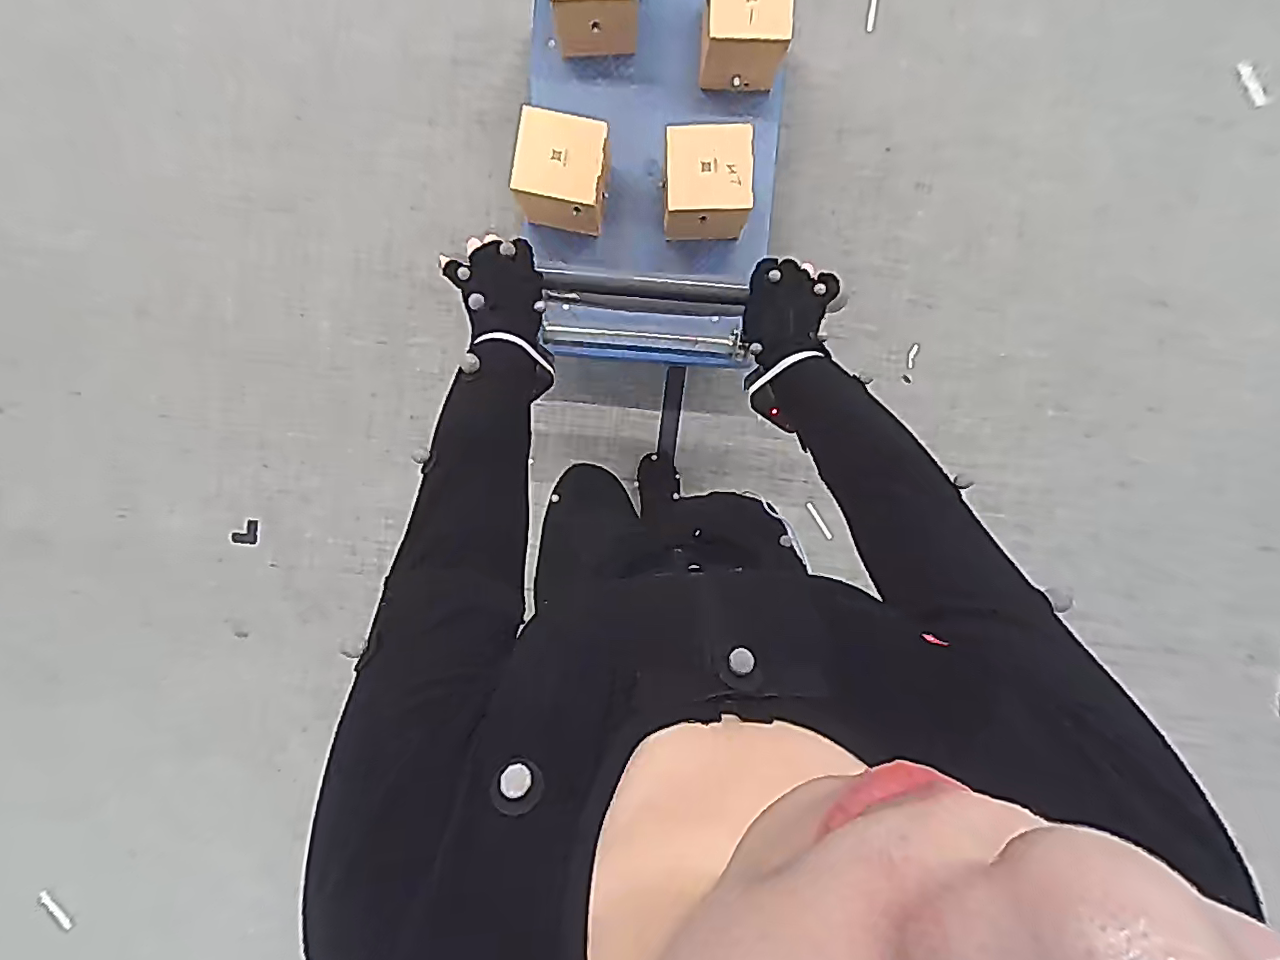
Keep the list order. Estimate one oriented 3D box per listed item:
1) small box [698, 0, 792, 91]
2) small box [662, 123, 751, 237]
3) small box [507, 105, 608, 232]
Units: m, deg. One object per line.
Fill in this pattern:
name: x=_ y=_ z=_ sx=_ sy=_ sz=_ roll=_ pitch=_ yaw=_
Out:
small box: x=0.215 y=-0.963 z=1.133 sx=0.168 sy=0.176 sz=0.179 roll=1 pitch=96 yaw=0
small box: x=0.135 y=-0.634 z=1.161 sx=0.179 sy=0.176 sz=0.168 roll=-1 pitch=95 yaw=0
small box: x=-0.168 y=-0.656 z=1.158 sx=0.179 sy=0.176 sz=0.168 roll=10 pitch=94 yaw=-3
